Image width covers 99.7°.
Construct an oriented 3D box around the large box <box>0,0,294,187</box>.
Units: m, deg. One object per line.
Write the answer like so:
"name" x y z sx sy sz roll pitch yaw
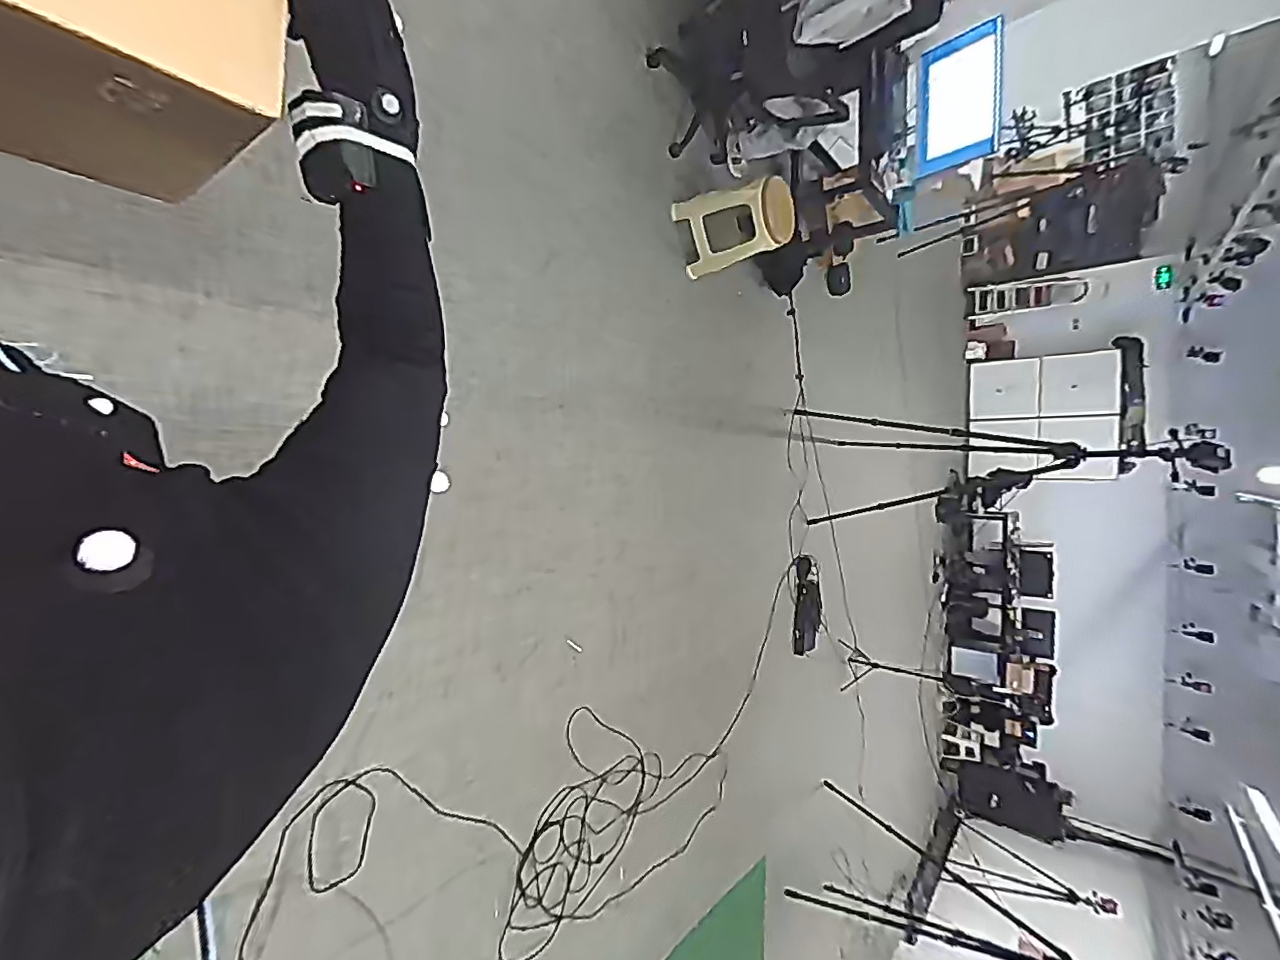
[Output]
"large box" -0.480 -0.434 0.315 0.408 0.320 0.320 -1 99 -51
